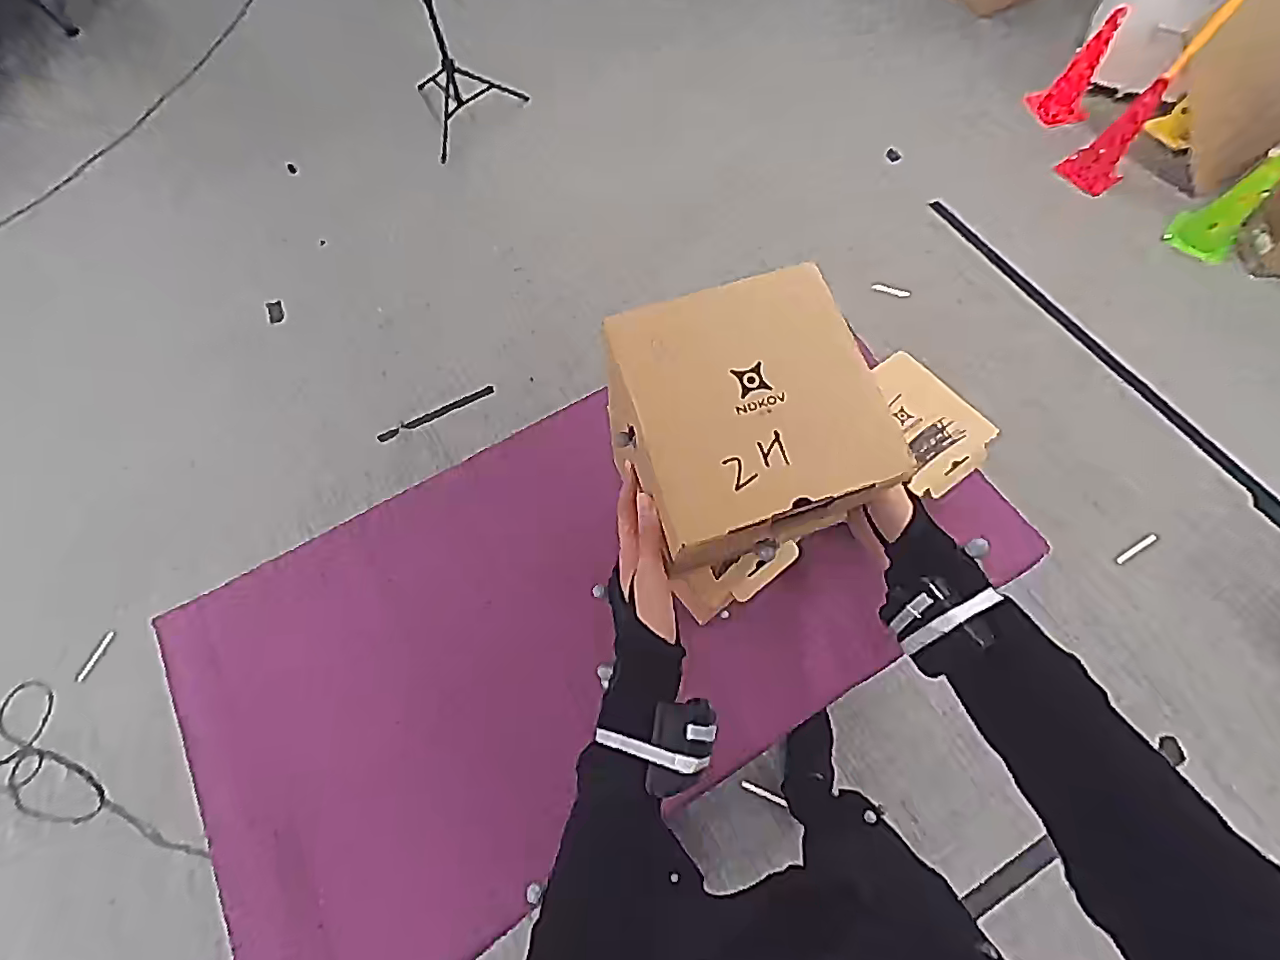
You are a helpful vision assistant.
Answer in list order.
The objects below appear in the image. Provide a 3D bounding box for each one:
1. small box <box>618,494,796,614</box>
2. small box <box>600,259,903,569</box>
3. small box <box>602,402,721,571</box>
[{"bbox_3d":[0.090,0.071,0.760,0.168,0.176,0.179,-36,70,-12],"label":"small box"},{"bbox_3d":[0.070,-0.041,0.447,0.168,0.176,0.179,-17,74,-6],"label":"small box"},{"bbox_3d":[0.067,-0.006,0.609,0.168,0.176,0.179,-21,73,-6],"label":"small box"}]
